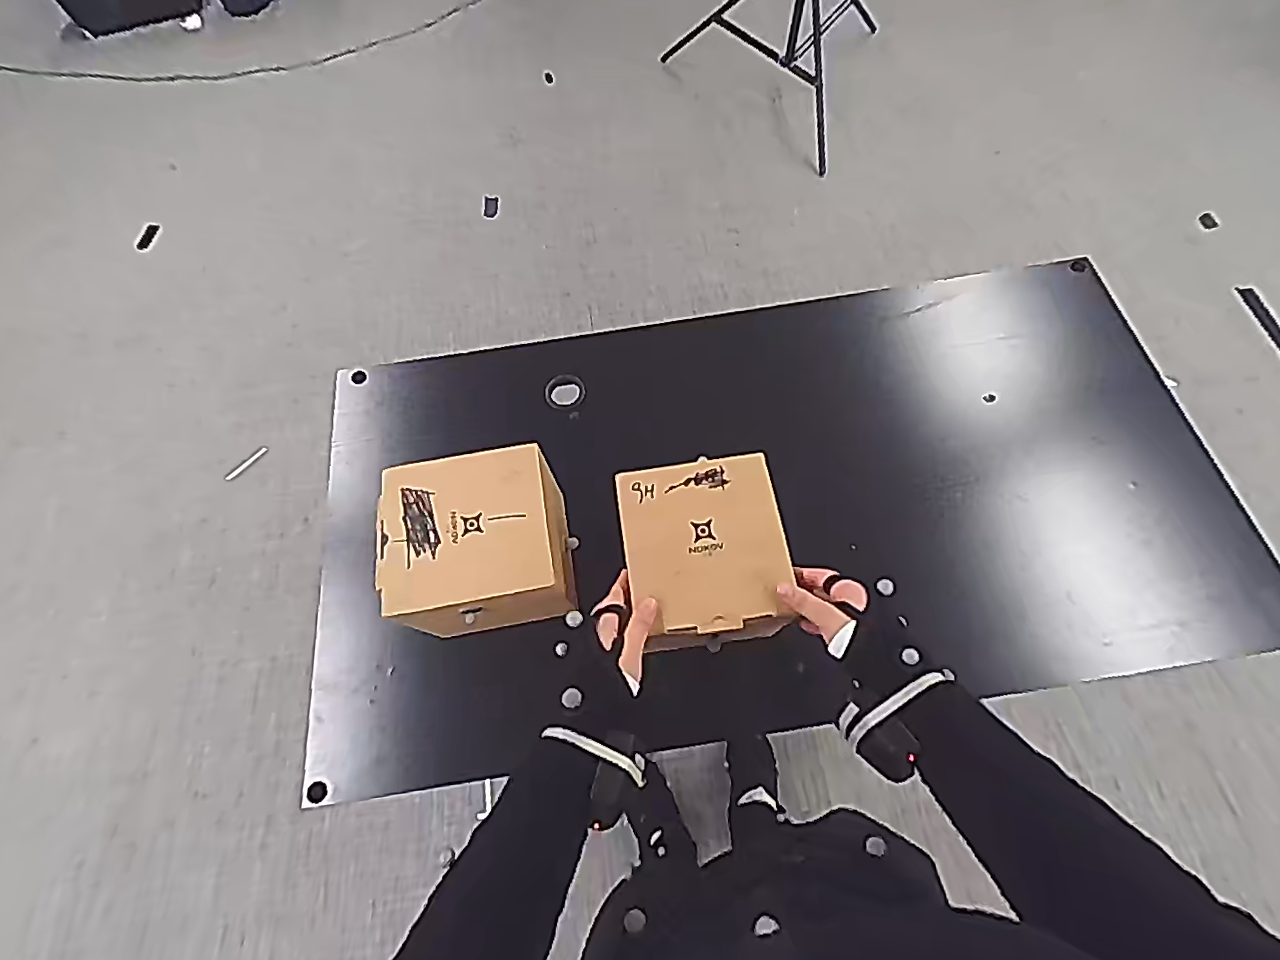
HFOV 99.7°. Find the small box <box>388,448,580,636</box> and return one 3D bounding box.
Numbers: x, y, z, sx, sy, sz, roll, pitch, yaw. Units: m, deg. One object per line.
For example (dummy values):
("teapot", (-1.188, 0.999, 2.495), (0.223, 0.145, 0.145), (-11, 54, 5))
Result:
("small box", (-0.180, 0.084, 0.654), (0.179, 0.176, 0.168), (-11, 67, -2))

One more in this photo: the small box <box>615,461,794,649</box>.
("small box", (0.068, 0.099, 0.636), (0.168, 0.176, 0.179), (-8, 67, 0))
